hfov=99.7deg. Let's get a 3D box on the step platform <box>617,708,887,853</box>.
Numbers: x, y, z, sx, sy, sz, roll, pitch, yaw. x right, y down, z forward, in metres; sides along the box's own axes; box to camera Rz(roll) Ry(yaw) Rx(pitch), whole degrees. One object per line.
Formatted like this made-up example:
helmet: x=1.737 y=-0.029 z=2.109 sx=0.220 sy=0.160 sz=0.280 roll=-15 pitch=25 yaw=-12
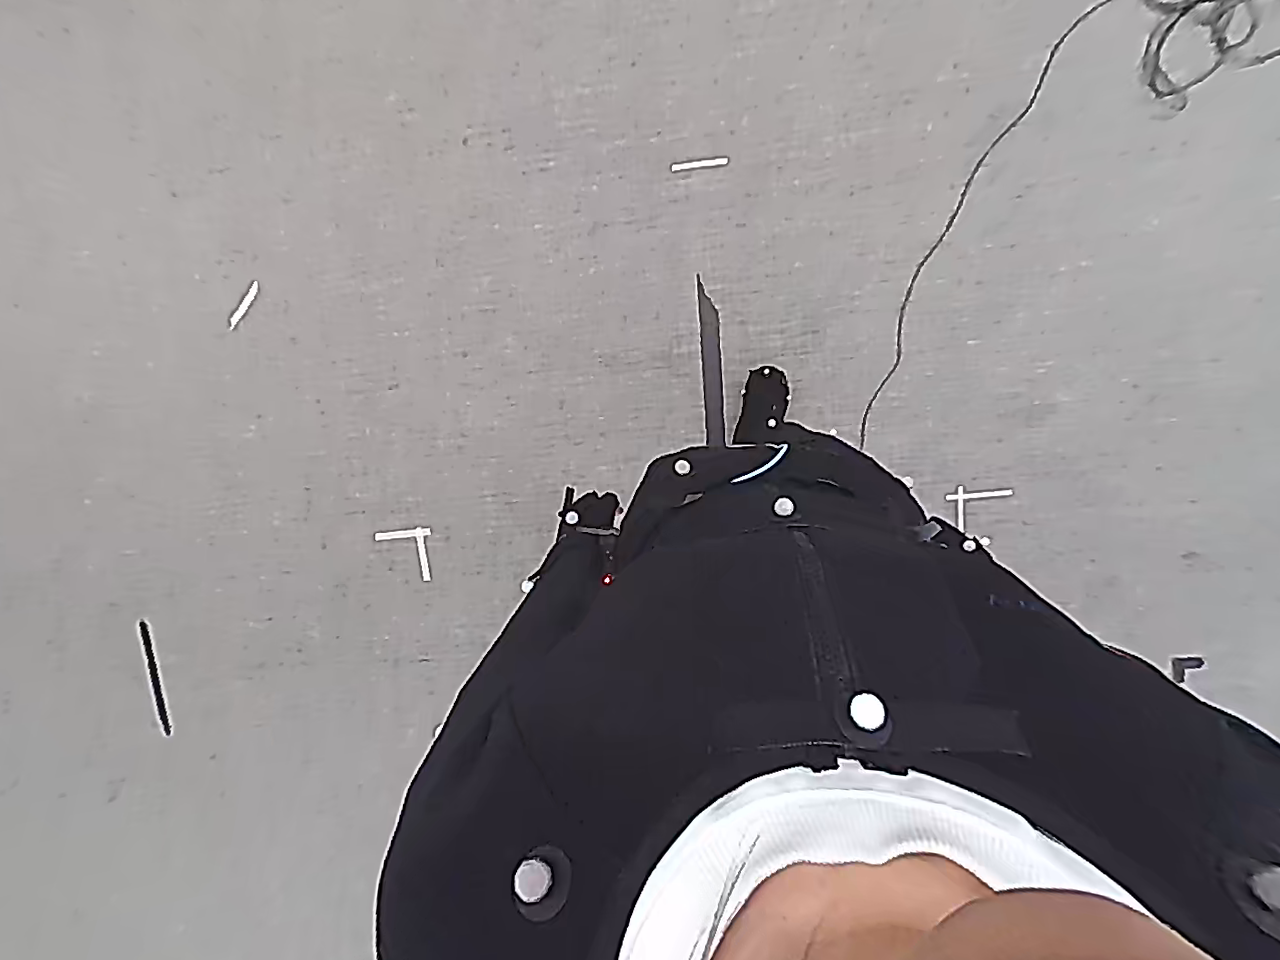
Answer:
step platform: x=0.280 y=0.793 z=1.434 sx=0.684 sy=0.204 sz=0.286 roll=-5 pitch=96 yaw=9
